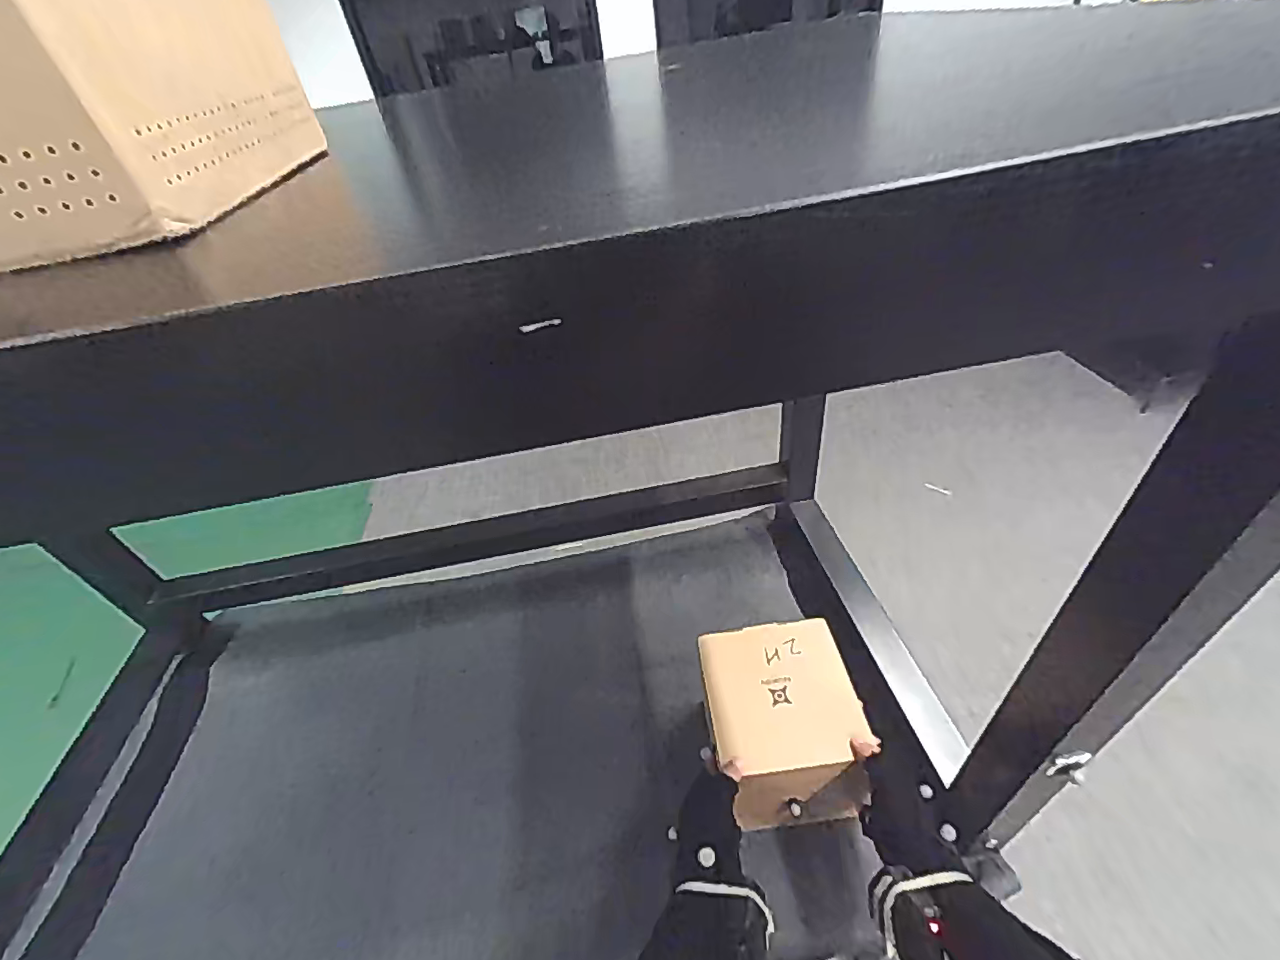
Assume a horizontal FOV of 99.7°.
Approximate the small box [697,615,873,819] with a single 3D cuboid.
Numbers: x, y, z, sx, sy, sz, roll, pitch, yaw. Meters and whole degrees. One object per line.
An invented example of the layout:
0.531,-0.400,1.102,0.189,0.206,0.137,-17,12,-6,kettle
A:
0.169,0.299,0.674,0.168,0.176,0.179,-8,40,2,small box
